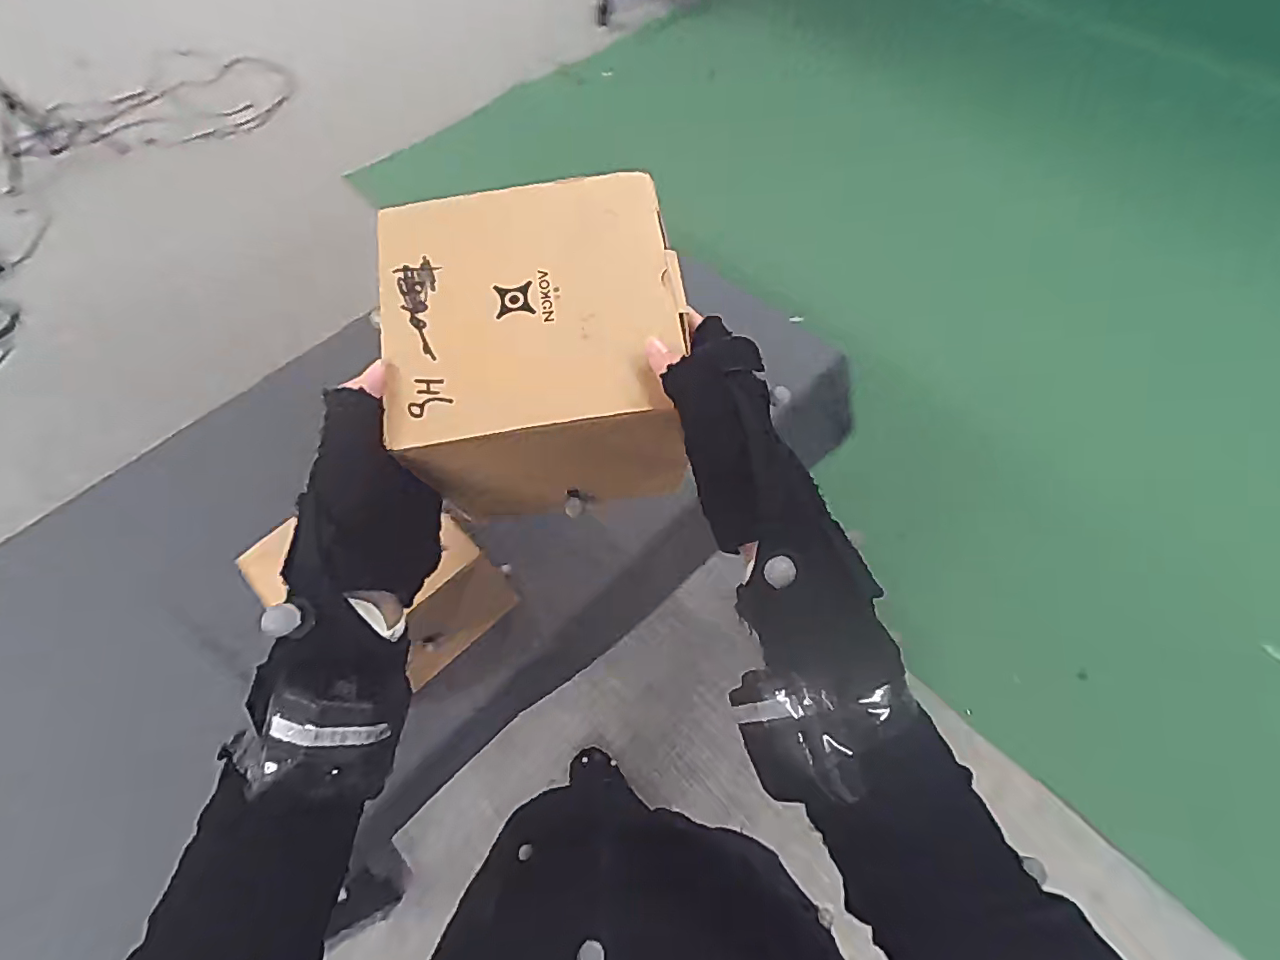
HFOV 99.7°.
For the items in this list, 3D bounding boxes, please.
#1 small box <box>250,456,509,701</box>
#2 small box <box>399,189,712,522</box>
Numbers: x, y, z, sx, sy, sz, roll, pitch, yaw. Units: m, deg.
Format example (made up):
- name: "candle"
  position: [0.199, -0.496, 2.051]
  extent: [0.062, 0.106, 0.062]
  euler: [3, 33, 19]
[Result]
- name: "small box"
  position: [-0.264, 0.113, 0.594]
  extent: [0.179, 0.176, 0.168]
  euler: [-39, 65, -17]
- name: "small box"
  position: [-0.056, -0.076, 0.397]
  extent: [0.179, 0.176, 0.168]
  euler: [-8, 71, -2]
